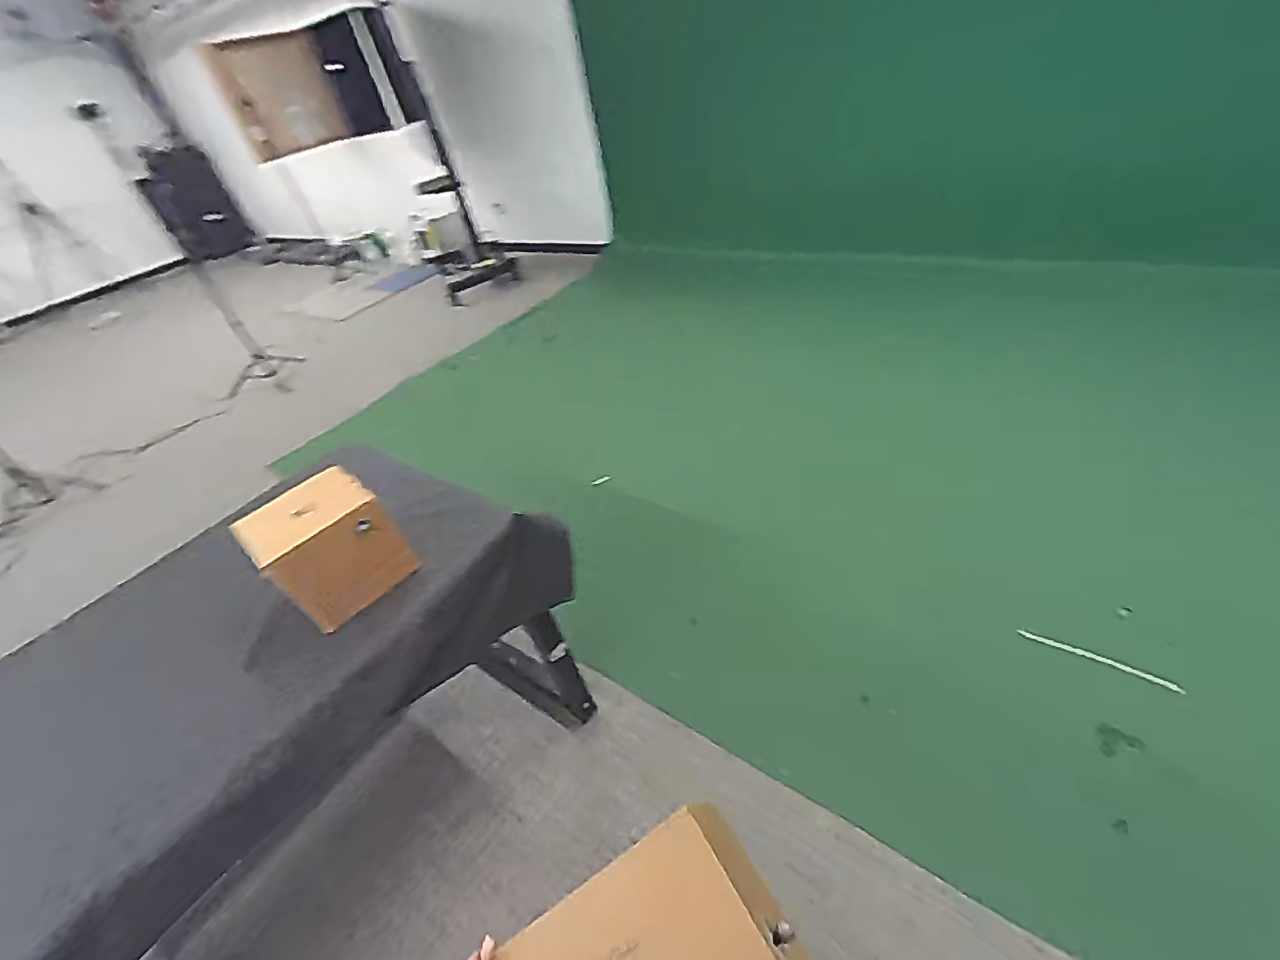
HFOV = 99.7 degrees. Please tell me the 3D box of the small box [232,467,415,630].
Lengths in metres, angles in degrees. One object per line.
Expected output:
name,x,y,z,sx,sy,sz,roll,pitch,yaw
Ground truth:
small box,-0.513,0.112,0.893,0.168,0.176,0.179,23,51,37
